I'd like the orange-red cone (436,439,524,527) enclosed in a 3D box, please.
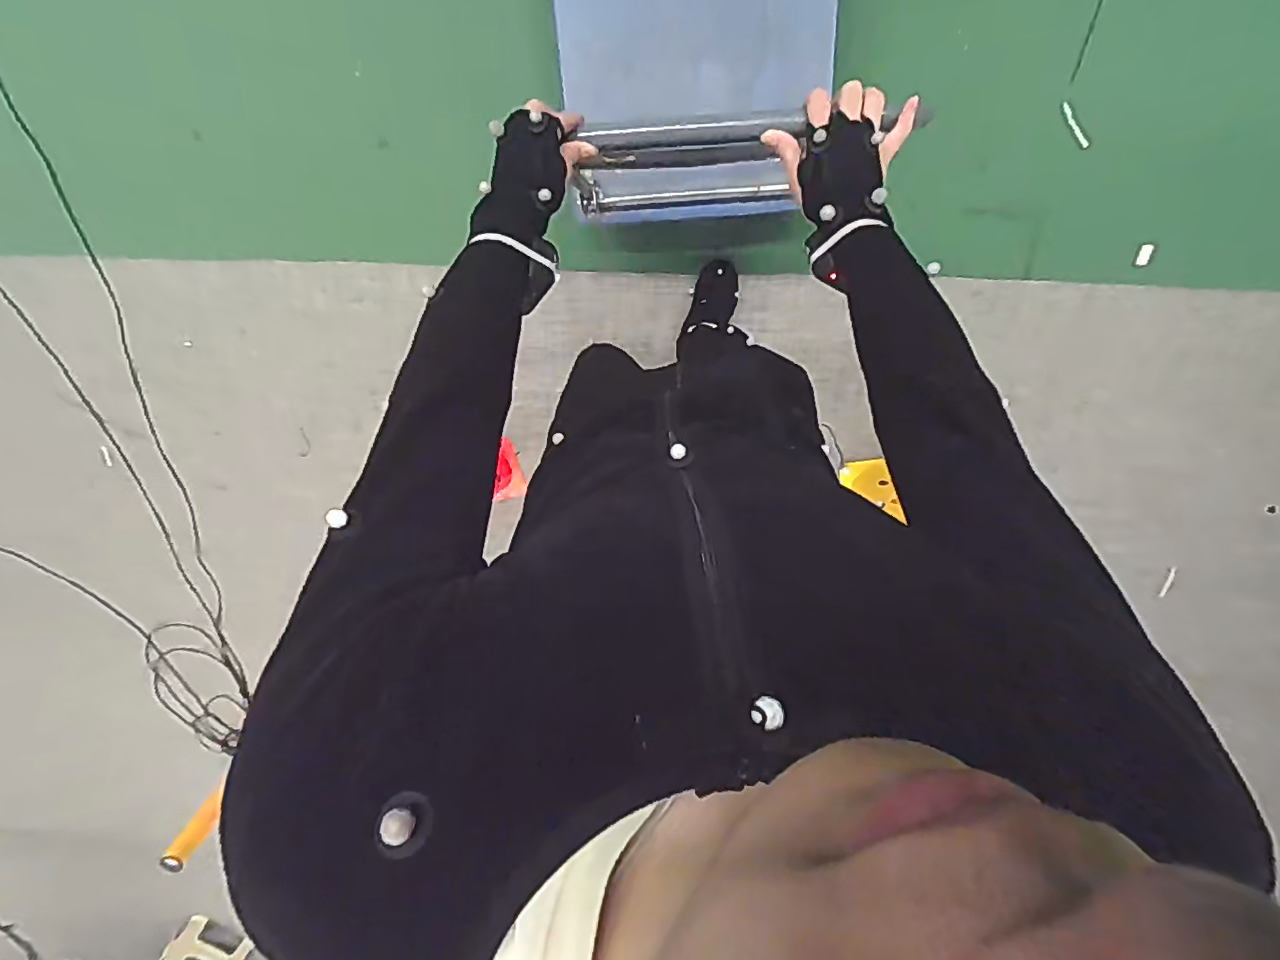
[{"bbox_3d":[-0.492,0.039,1.540,0.199,0.360,0.198,-10,111,10],"label":"orange-red cone"}]
